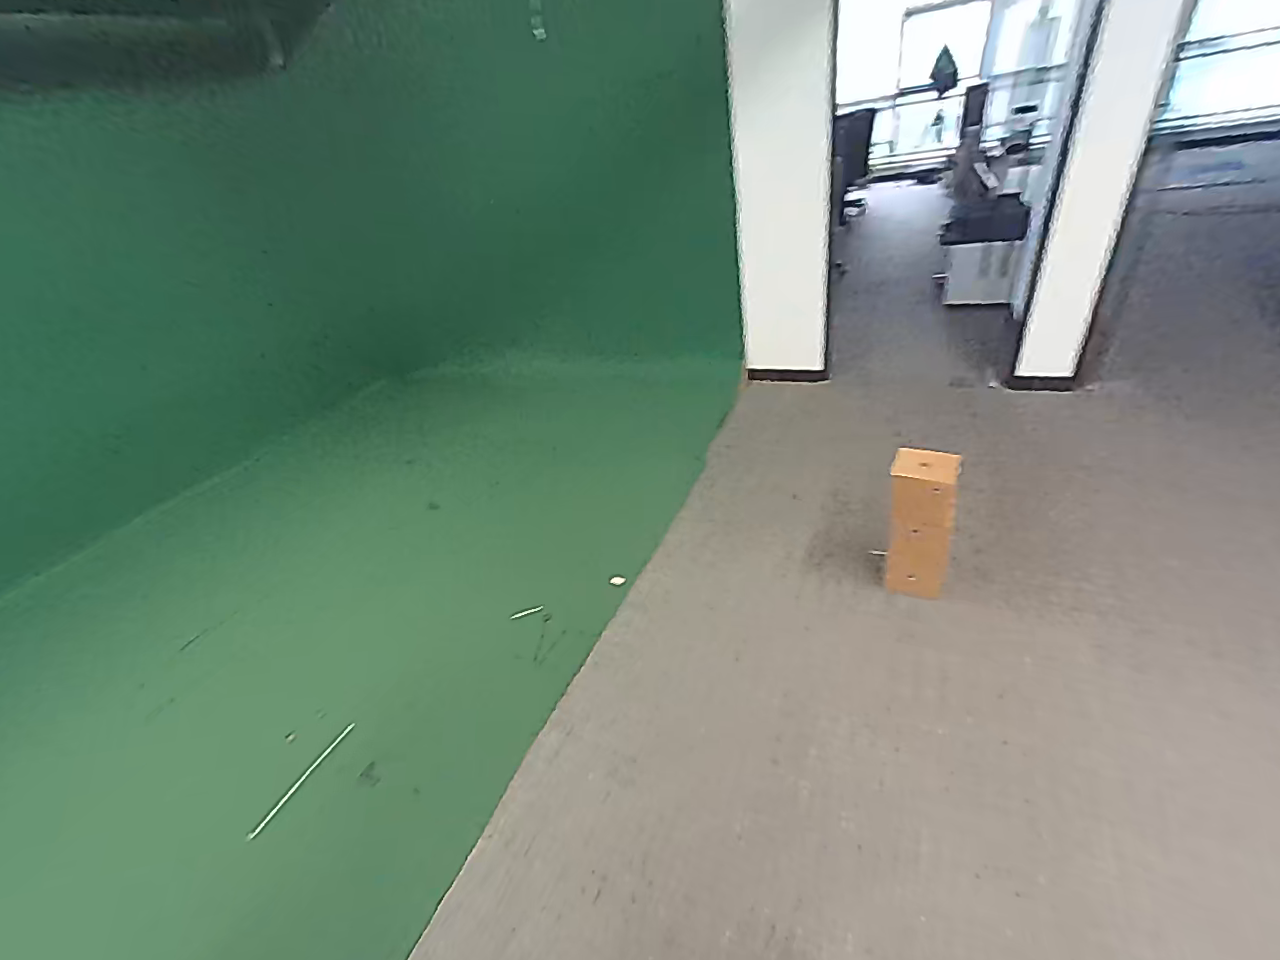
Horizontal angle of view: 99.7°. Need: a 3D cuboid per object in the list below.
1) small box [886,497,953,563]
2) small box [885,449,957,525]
[{"bbox_3d":[0.931,0.156,1.809,0.179,0.176,0.168,9,40,29],"label":"small box"},{"bbox_3d":[0.891,0.022,1.723,0.179,0.176,0.168,12,40,31],"label":"small box"}]
